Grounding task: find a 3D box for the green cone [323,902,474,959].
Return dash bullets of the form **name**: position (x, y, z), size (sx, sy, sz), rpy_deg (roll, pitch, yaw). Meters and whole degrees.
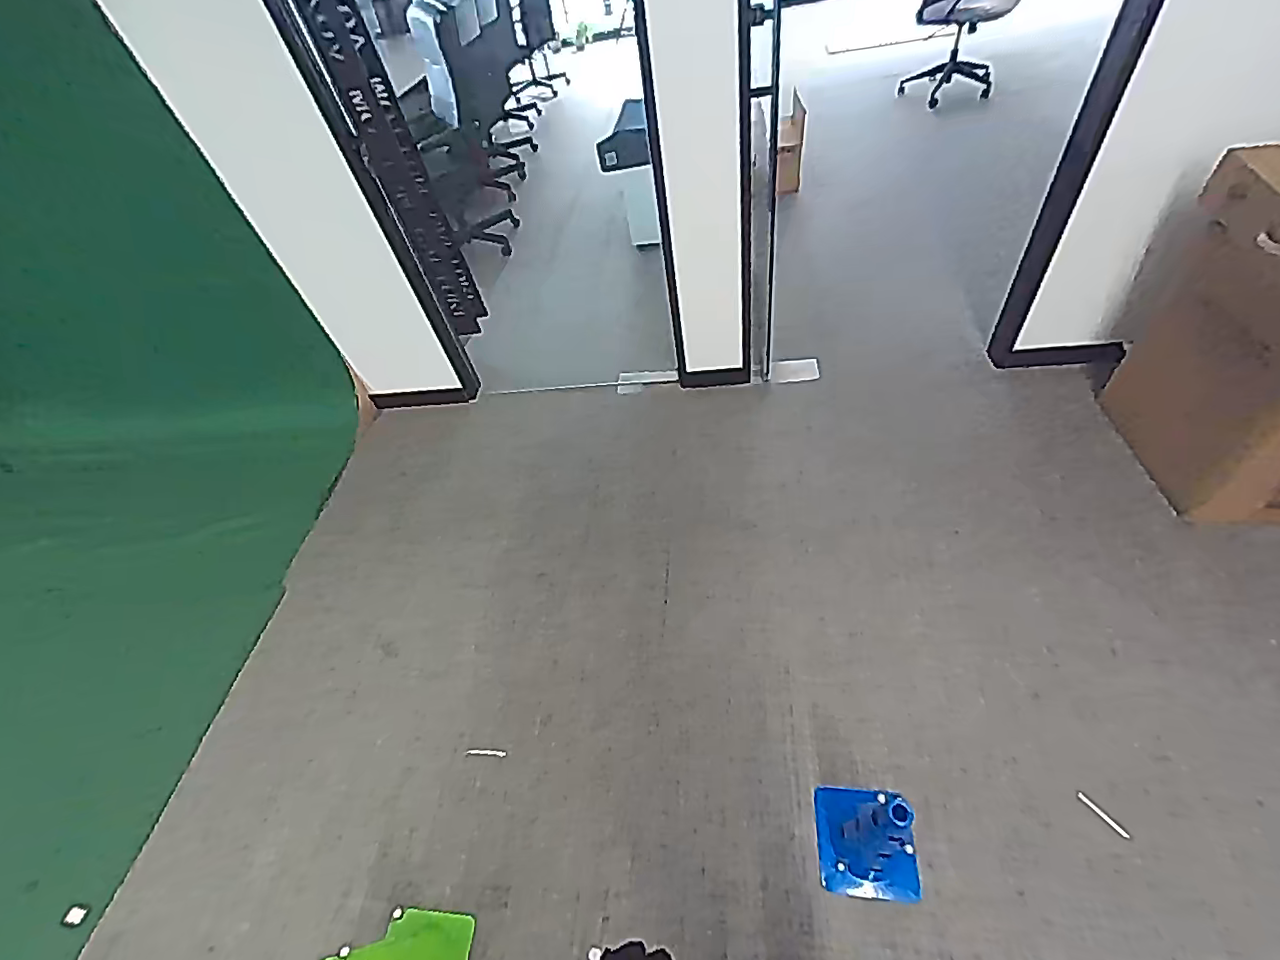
- **green cone**: position (-0.491, 0.920, 1.019), size (0.202, 0.368, 0.200), rpy_deg (-2, 50, 9)
